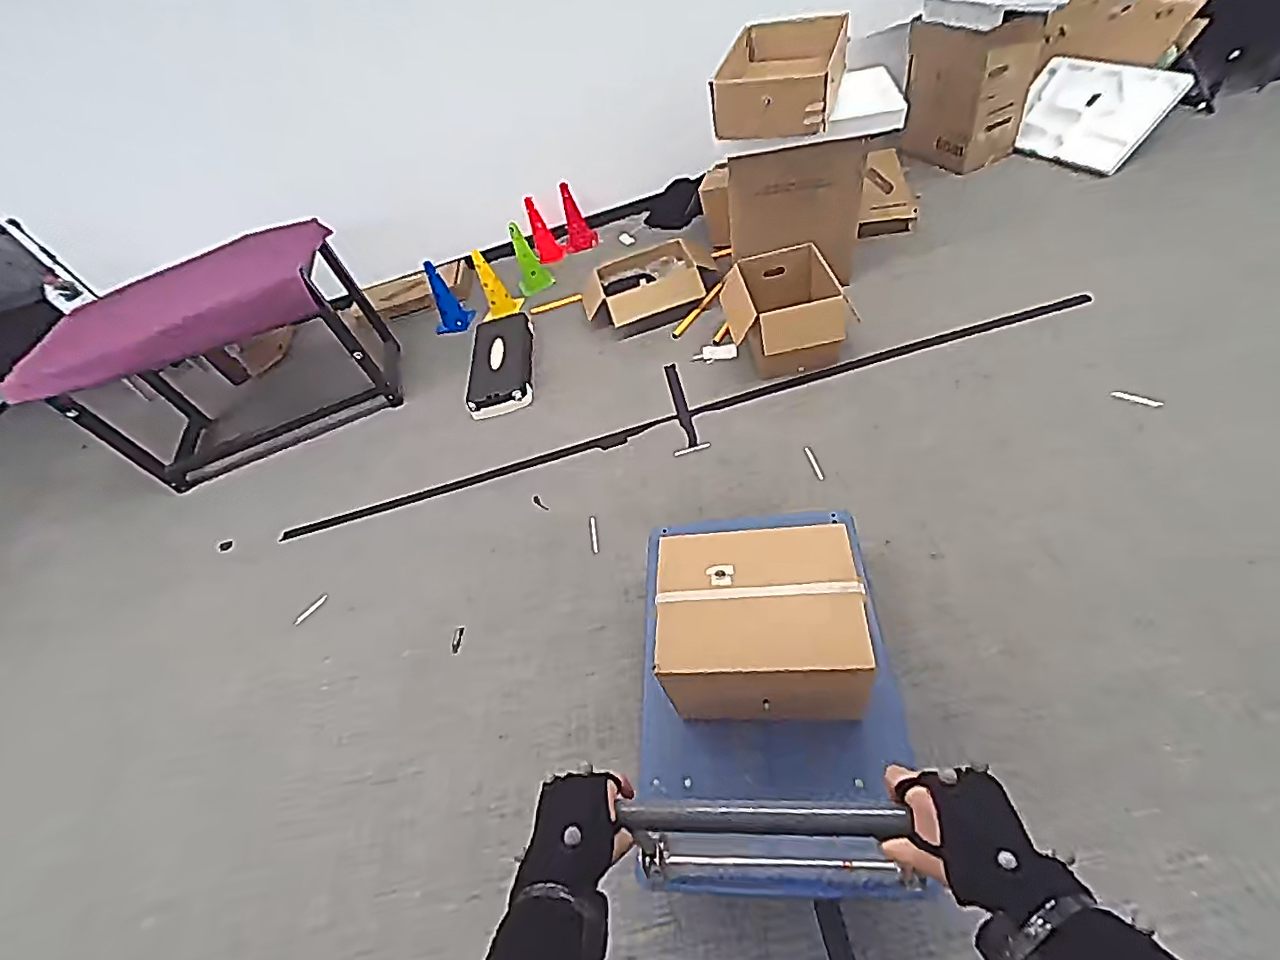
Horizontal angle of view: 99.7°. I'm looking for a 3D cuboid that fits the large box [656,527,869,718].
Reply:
[{"bbox_3d":[0.268,0.335,1.225,0.408,0.320,0.320,-7,49,13],"label":"large box"}]
